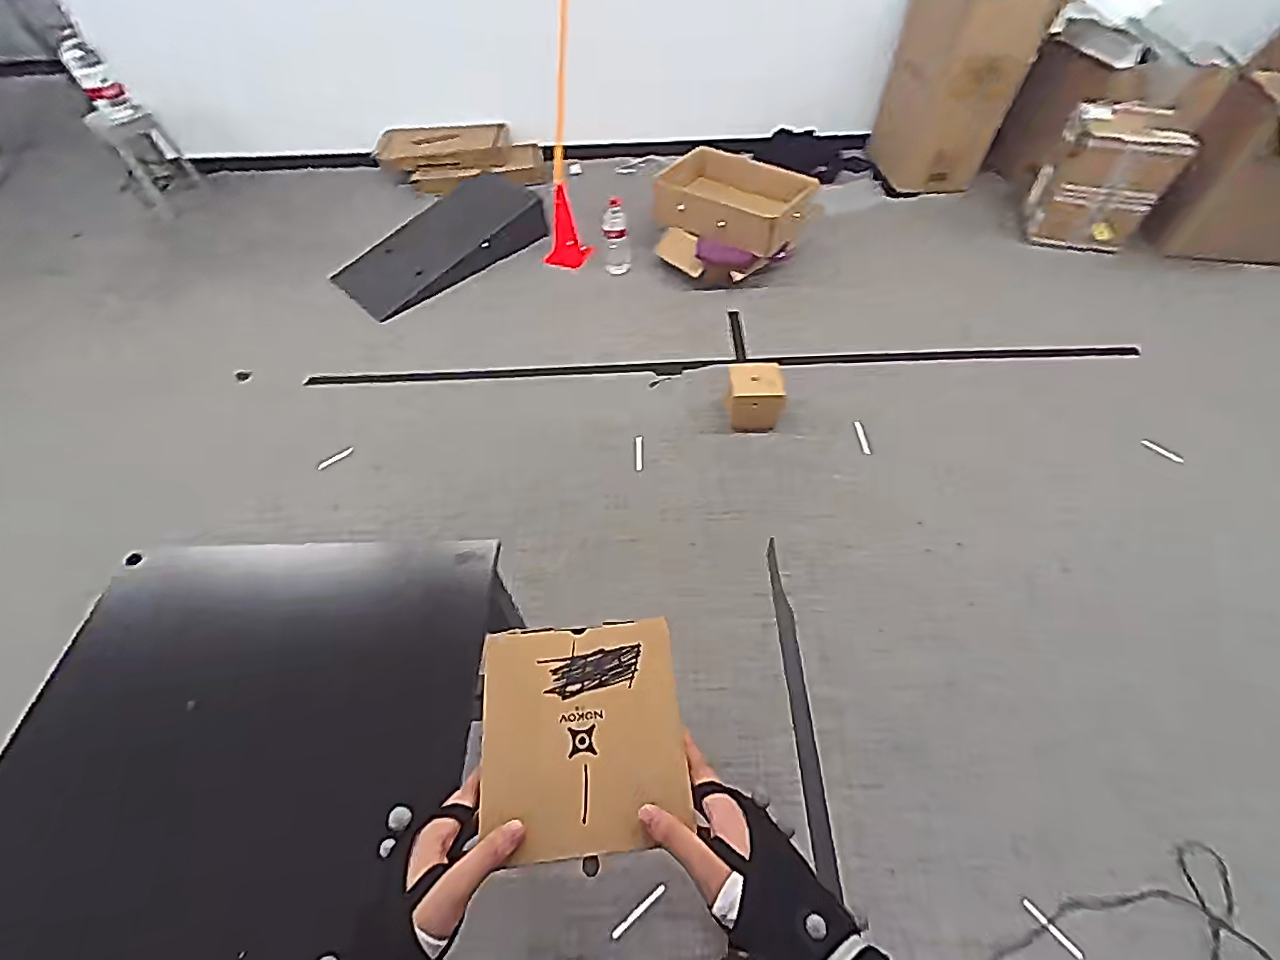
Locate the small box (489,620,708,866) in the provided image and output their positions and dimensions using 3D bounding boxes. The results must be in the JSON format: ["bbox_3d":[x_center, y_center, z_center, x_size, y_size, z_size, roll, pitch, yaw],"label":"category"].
[{"bbox_3d":[-0.039,0.249,0.511,0.168,0.176,0.179,-4,57,-4],"label":"small box"}]

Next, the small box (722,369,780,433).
[{"bbox_3d":[0.394,-0.284,1.960,0.179,0.176,0.168,-1,54,0],"label":"small box"}]
